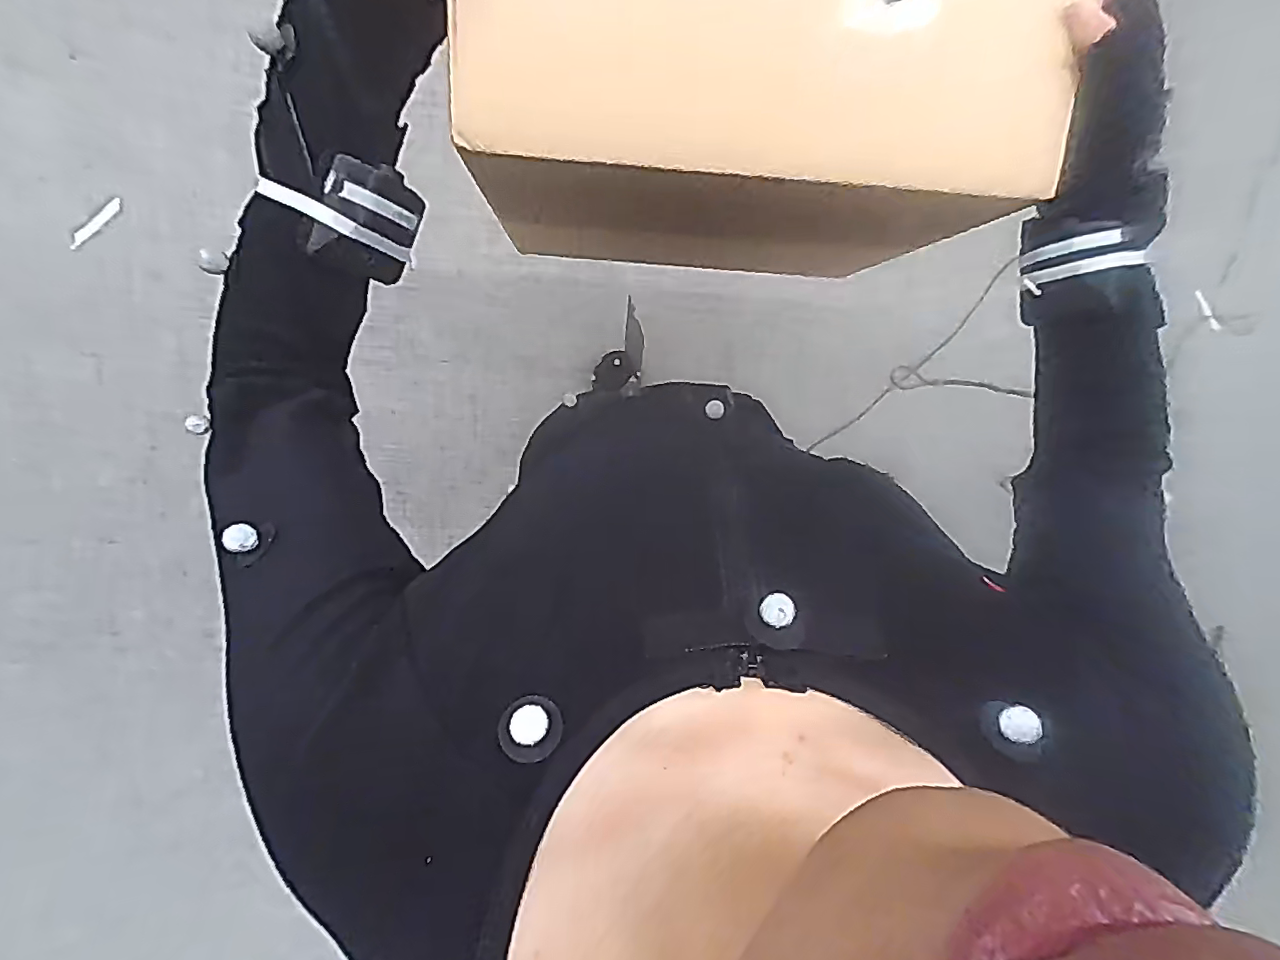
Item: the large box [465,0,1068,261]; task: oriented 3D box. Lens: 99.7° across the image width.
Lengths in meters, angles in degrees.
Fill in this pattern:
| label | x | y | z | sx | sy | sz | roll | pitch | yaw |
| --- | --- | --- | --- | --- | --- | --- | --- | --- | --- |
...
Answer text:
| label | x | y | z | sx | sy | sz | roll | pitch | yaw |
| --- | --- | --- | --- | --- | --- | --- | --- | --- | --- |
| large box | 0.075 | -0.393 | 0.481 | 0.408 | 0.320 | 0.320 | 1 | 102 | -6 |
